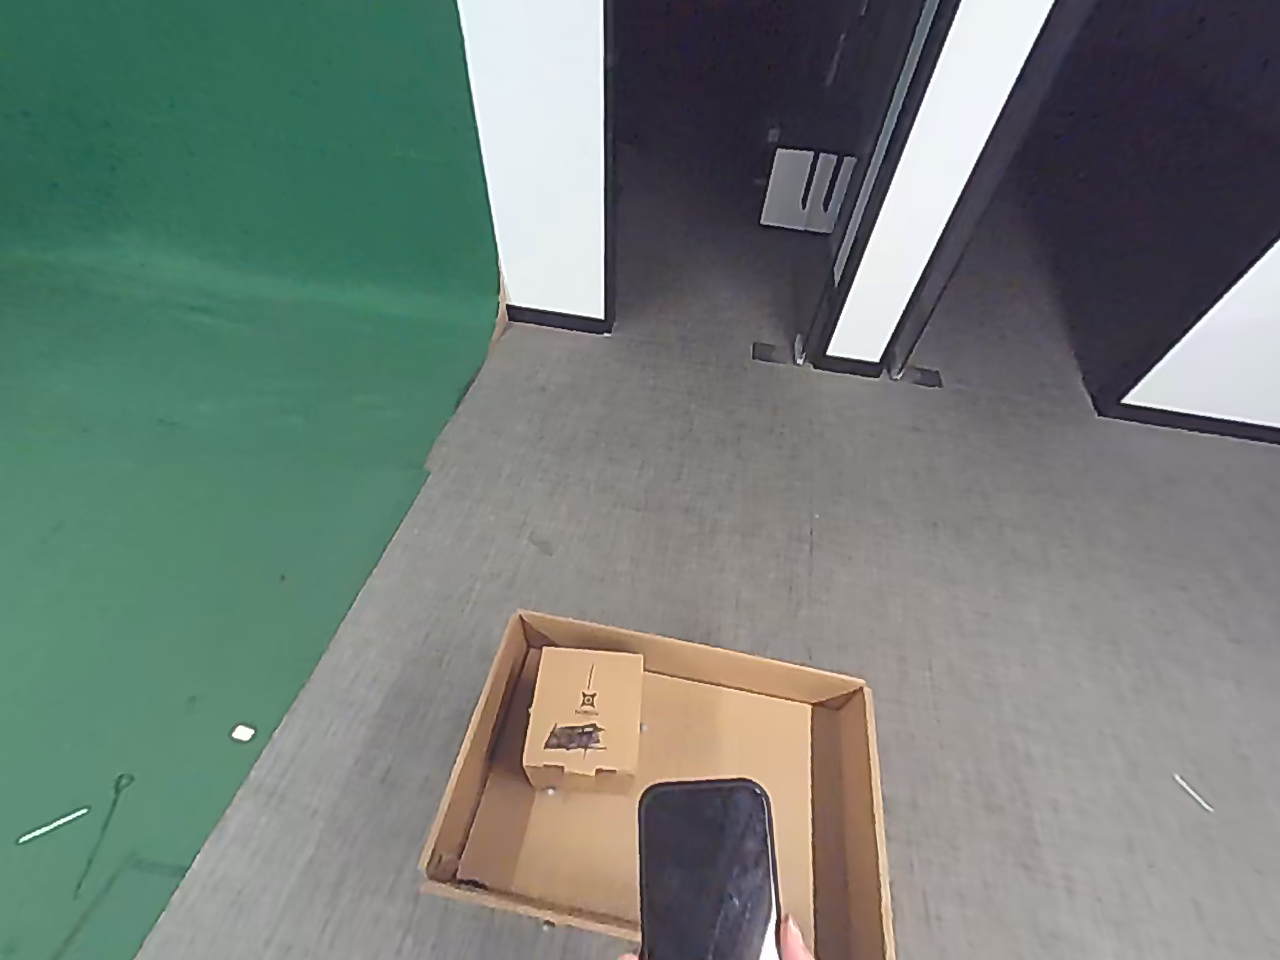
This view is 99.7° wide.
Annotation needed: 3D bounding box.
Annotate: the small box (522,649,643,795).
[{"bbox_3d":[-0.084,0.395,0.874,0.168,0.176,0.179,4,49,0],"label":"small box"}]
